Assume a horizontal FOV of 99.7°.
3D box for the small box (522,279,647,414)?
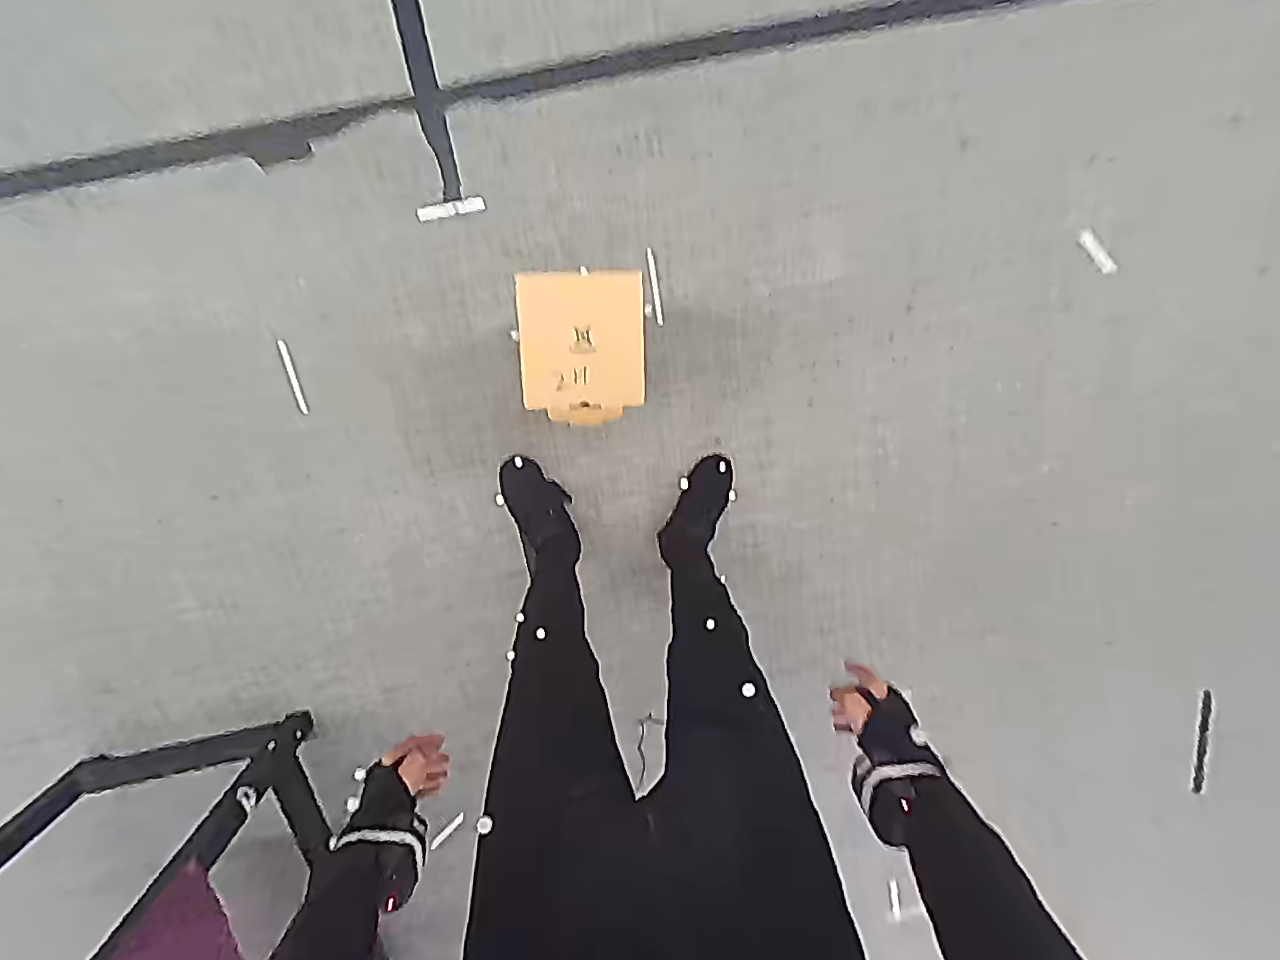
[{"bbox_3d":[-0.080,-0.195,0.800,0.168,0.176,0.179,-1,105,-4],"label":"small box"}]
